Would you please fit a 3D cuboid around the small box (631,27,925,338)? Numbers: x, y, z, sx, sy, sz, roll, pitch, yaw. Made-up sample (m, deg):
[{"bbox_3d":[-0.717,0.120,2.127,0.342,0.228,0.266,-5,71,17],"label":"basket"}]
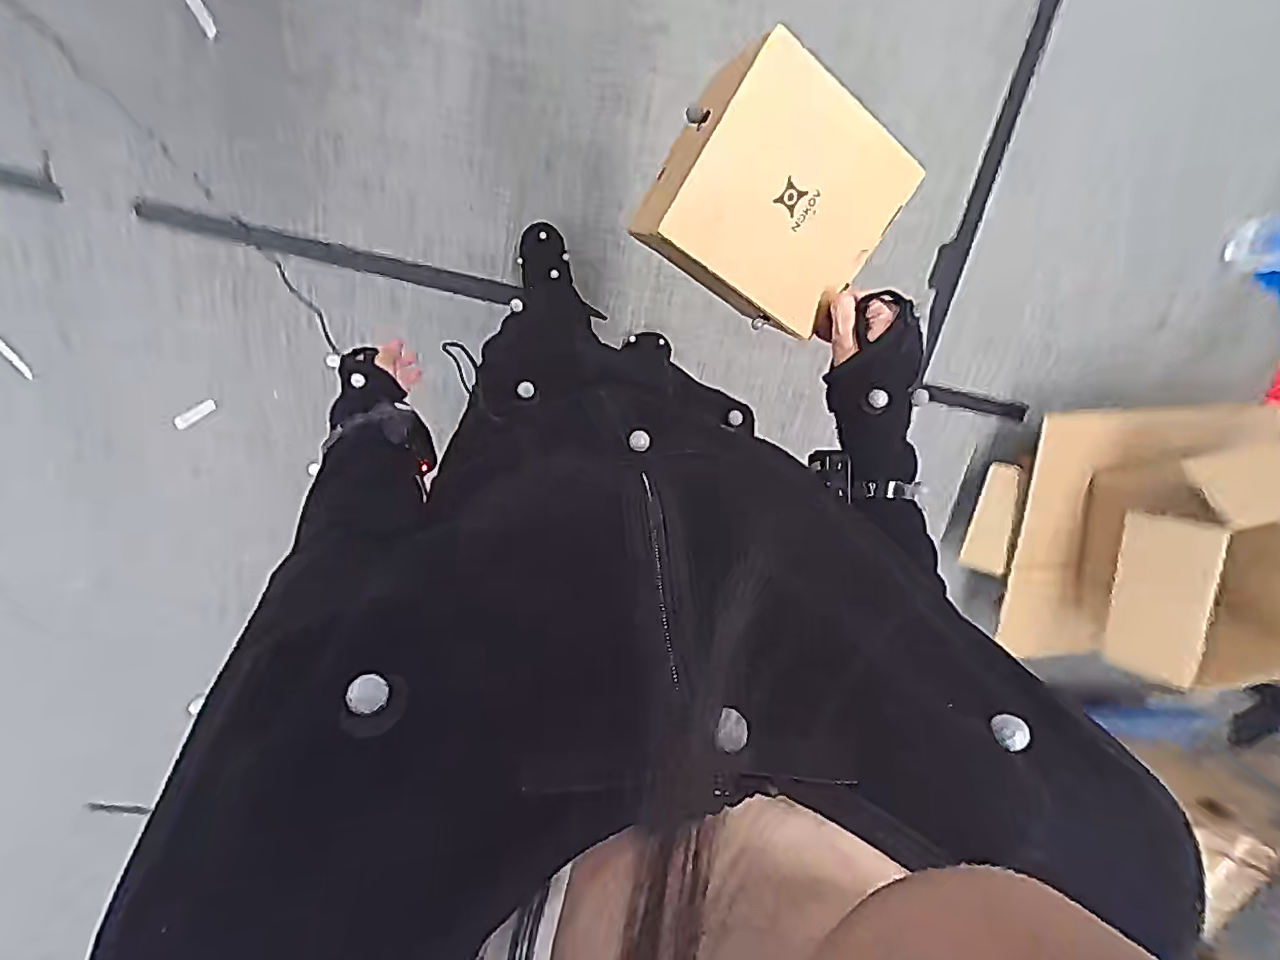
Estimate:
[{"bbox_3d":[0.110,-0.260,0.512,0.179,0.176,0.168,26,107,-22],"label":"small box"}]
